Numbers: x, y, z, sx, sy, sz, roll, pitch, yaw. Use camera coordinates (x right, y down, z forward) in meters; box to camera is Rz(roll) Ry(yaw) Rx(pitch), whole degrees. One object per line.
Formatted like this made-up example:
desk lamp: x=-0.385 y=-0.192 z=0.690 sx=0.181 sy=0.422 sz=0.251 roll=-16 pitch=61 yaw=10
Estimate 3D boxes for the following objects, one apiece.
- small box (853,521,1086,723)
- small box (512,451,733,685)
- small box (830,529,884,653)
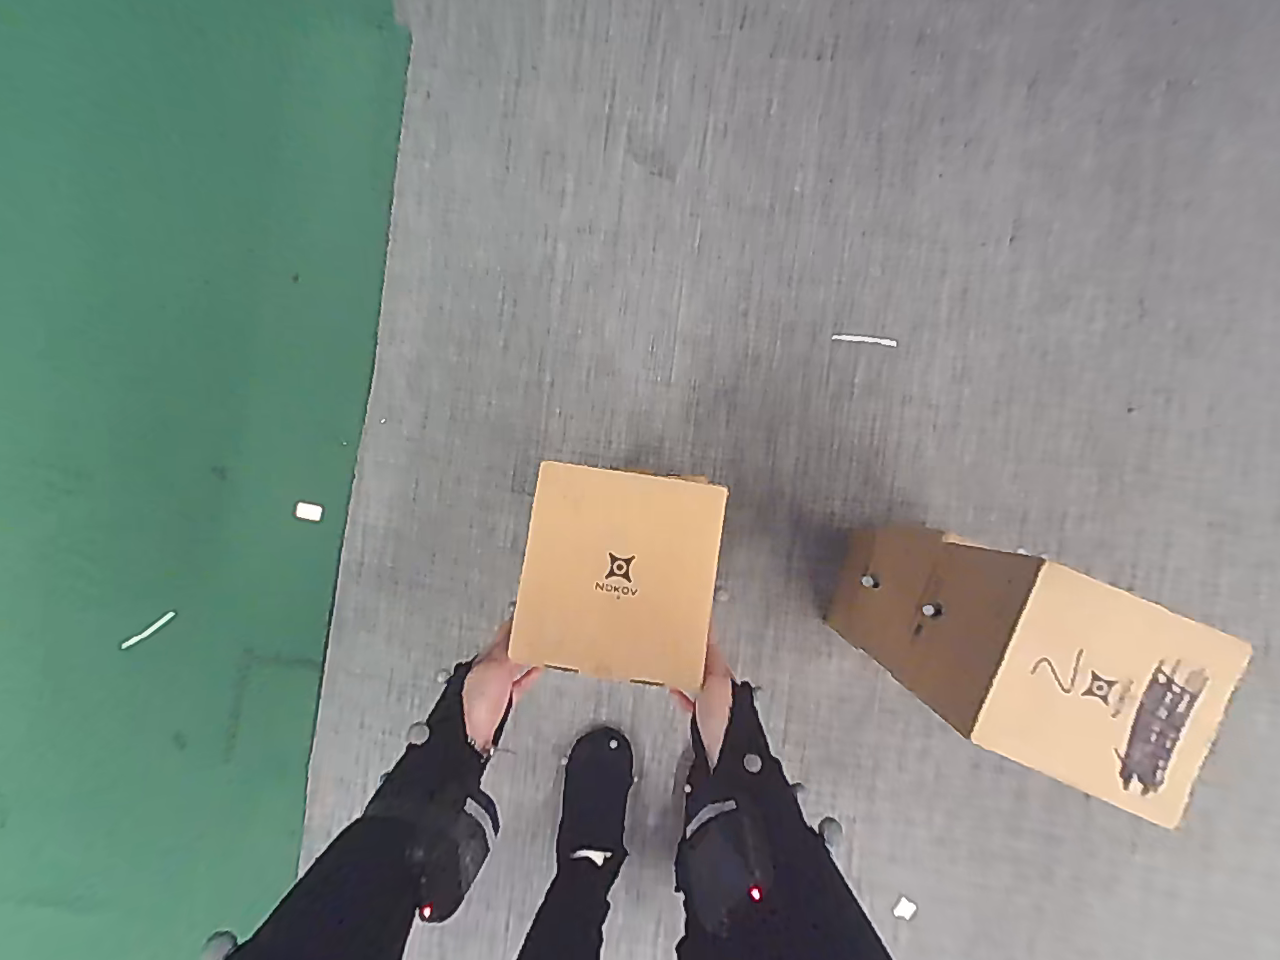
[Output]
small box: x=0.391 y=0.162 z=0.681 sx=0.168 sy=0.176 sz=0.179 roll=21 pitch=90 yaw=4
small box: x=-0.013 y=0.080 z=0.534 sx=0.168 sy=0.176 sz=0.179 roll=9 pitch=85 yaw=2
small box: x=0.417 y=0.182 z=0.842 sx=0.168 sy=0.176 sz=0.179 roll=17 pitch=90 yaw=4
